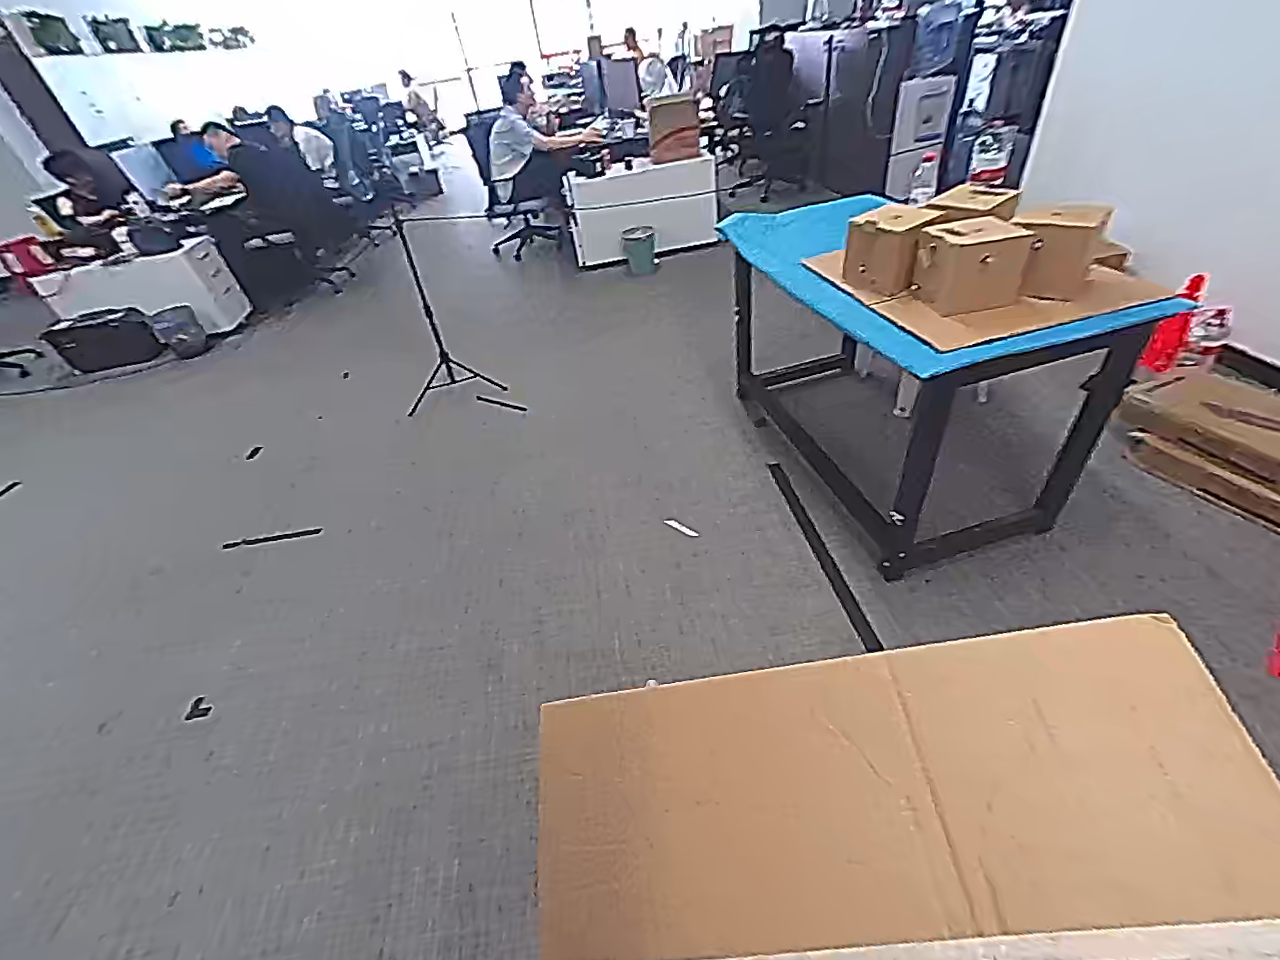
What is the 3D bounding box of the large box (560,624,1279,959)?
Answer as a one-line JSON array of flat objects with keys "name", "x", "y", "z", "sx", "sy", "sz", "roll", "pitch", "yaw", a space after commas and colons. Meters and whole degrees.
[{"name": "large box", "x": 0.182, "y": 0.337, "z": 0.412, "sx": 0.408, "sy": 0.320, "sz": 0.320, "roll": -12, "pitch": 58, "yaw": 9}]
